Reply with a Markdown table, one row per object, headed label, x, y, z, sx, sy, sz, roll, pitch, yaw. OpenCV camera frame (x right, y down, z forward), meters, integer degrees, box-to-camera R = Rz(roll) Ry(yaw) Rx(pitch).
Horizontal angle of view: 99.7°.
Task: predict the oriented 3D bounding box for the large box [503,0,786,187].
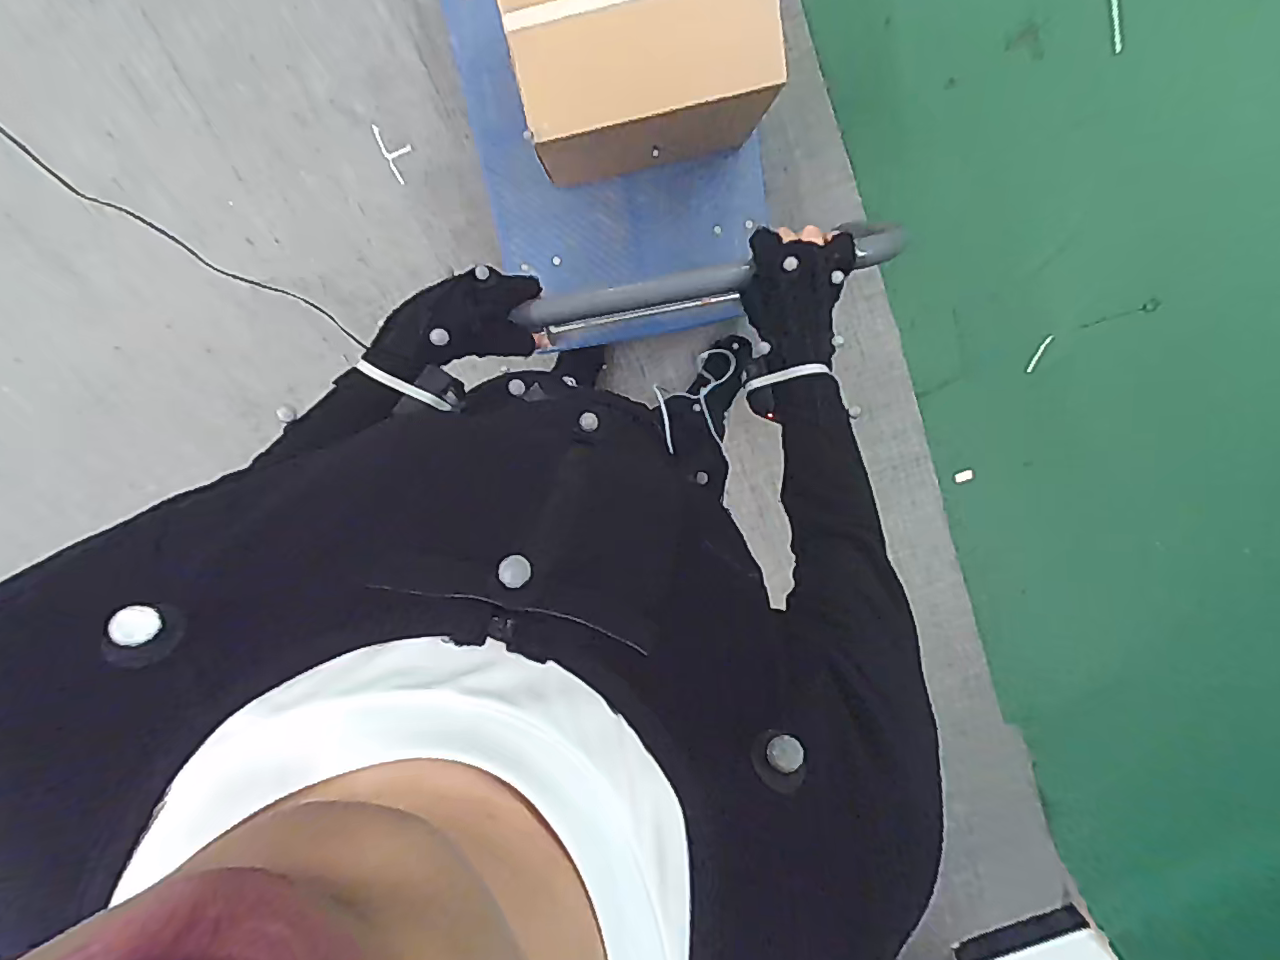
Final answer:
| label | x | y | z | sx | sy | sz | roll | pitch | yaw |
| --- | --- | --- | --- | --- | --- | --- | --- | --- | --- |
| large box | 0.000 | -0.757 | 0.949 | 0.408 | 0.320 | 0.320 | -13 | 106 | 3 |
